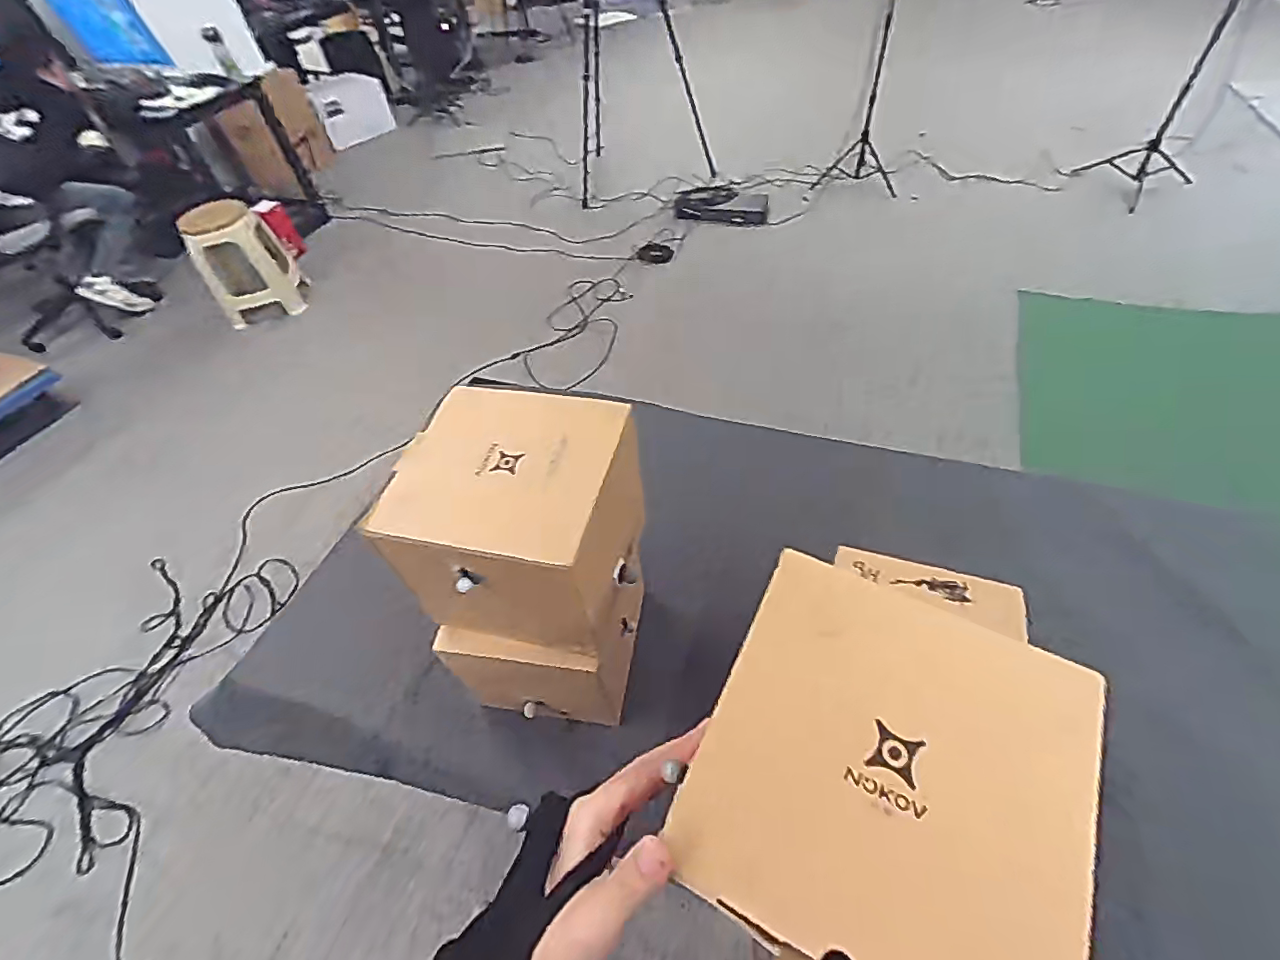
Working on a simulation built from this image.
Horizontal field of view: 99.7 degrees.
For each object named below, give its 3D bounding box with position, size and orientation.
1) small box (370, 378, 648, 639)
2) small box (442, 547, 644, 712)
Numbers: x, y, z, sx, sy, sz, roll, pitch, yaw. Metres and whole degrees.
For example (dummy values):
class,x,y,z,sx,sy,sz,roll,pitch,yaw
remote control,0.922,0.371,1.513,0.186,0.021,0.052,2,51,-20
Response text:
class,x,y,z,sx,sy,sz,roll,pitch,yaw
small box,-0.097,0.029,0.500,0.179,0.176,0.168,8,54,12
small box,-0.091,0.142,0.618,0.168,0.176,0.179,4,52,10
